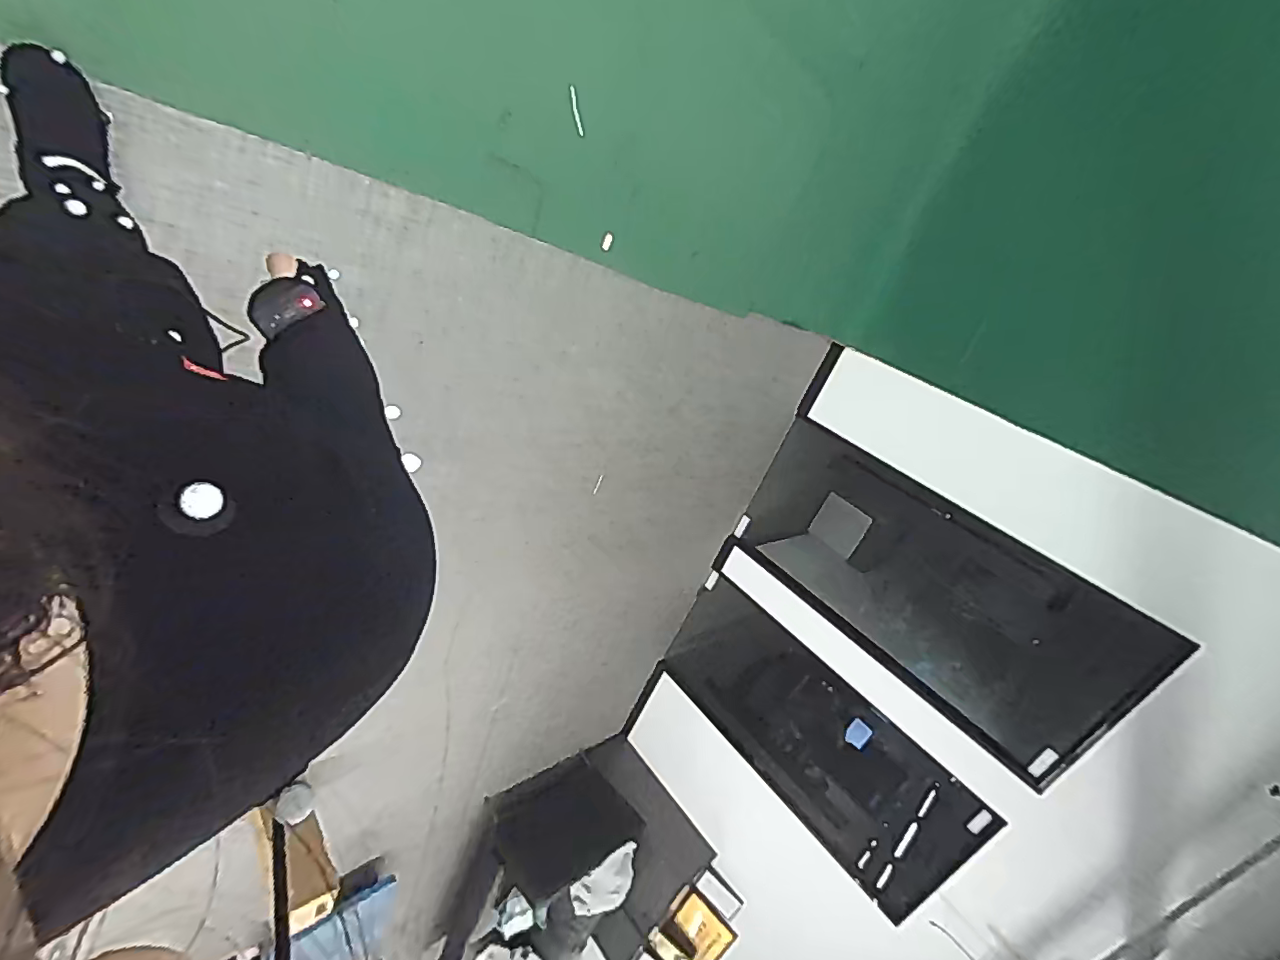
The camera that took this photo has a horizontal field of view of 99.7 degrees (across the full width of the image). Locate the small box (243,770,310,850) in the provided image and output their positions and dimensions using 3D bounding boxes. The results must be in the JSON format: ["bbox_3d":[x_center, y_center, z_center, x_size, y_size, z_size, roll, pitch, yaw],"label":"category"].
[{"bbox_3d":[-1.426,1.284,2.116,0.179,0.176,0.168,-2,124,-50],"label":"small box"}]

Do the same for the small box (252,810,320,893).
[{"bbox_3d":[-1.327,1.375,2.022,0.168,0.176,0.179,0,123,-49],"label":"small box"}]
